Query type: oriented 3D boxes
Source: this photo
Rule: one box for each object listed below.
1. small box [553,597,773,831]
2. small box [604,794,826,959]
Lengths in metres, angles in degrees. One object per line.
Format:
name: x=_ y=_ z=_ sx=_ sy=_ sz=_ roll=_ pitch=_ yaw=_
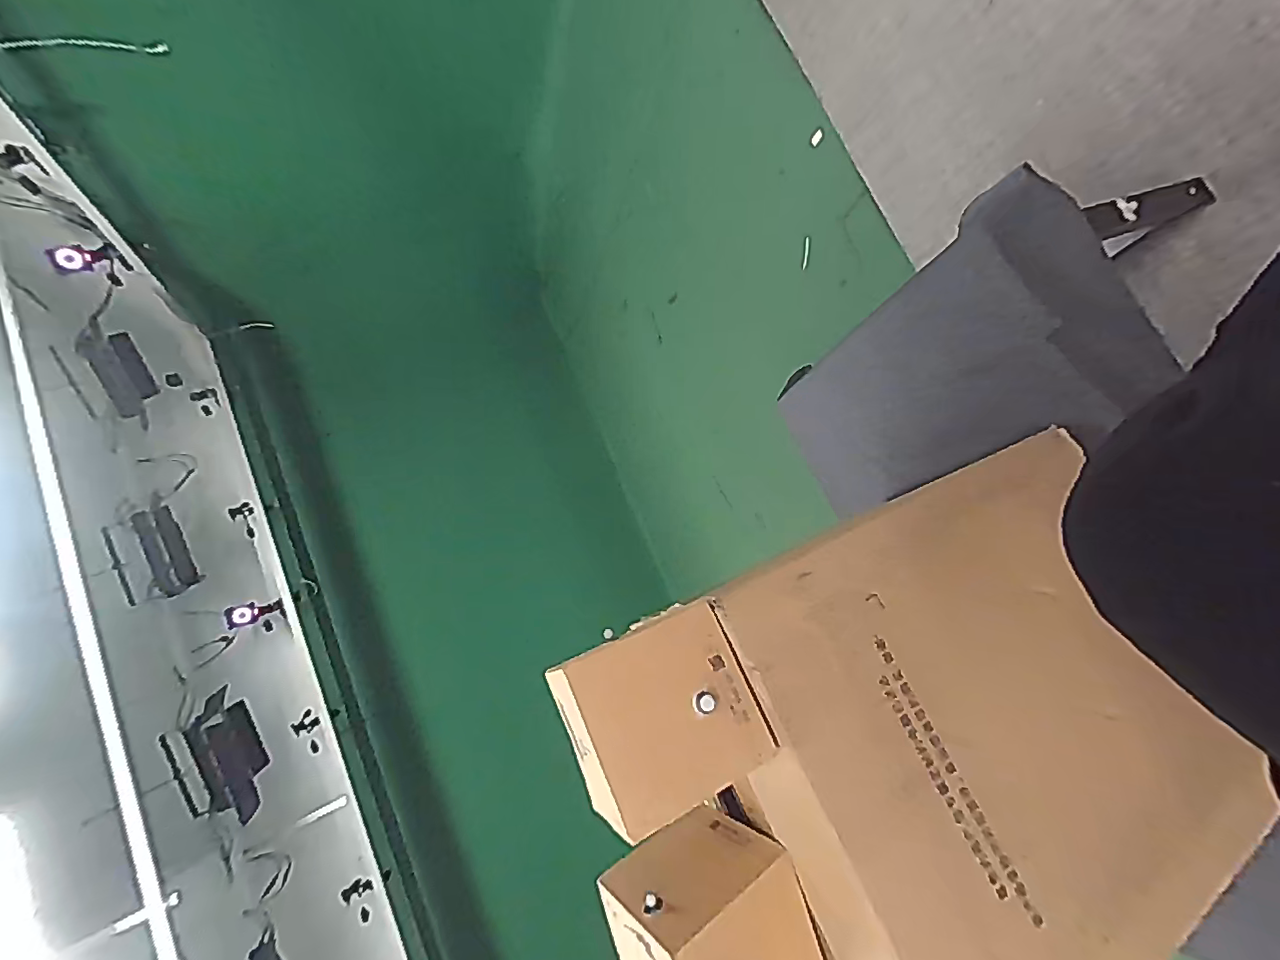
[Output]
small box: x=0.017 y=0.247 z=0.606 sx=0.168 sy=0.176 sz=0.179 roll=65 pitch=158 yaw=13
small box: x=0.089 y=0.515 z=0.628 sx=0.168 sy=0.176 sz=0.179 roll=-19 pitch=89 yaw=58
